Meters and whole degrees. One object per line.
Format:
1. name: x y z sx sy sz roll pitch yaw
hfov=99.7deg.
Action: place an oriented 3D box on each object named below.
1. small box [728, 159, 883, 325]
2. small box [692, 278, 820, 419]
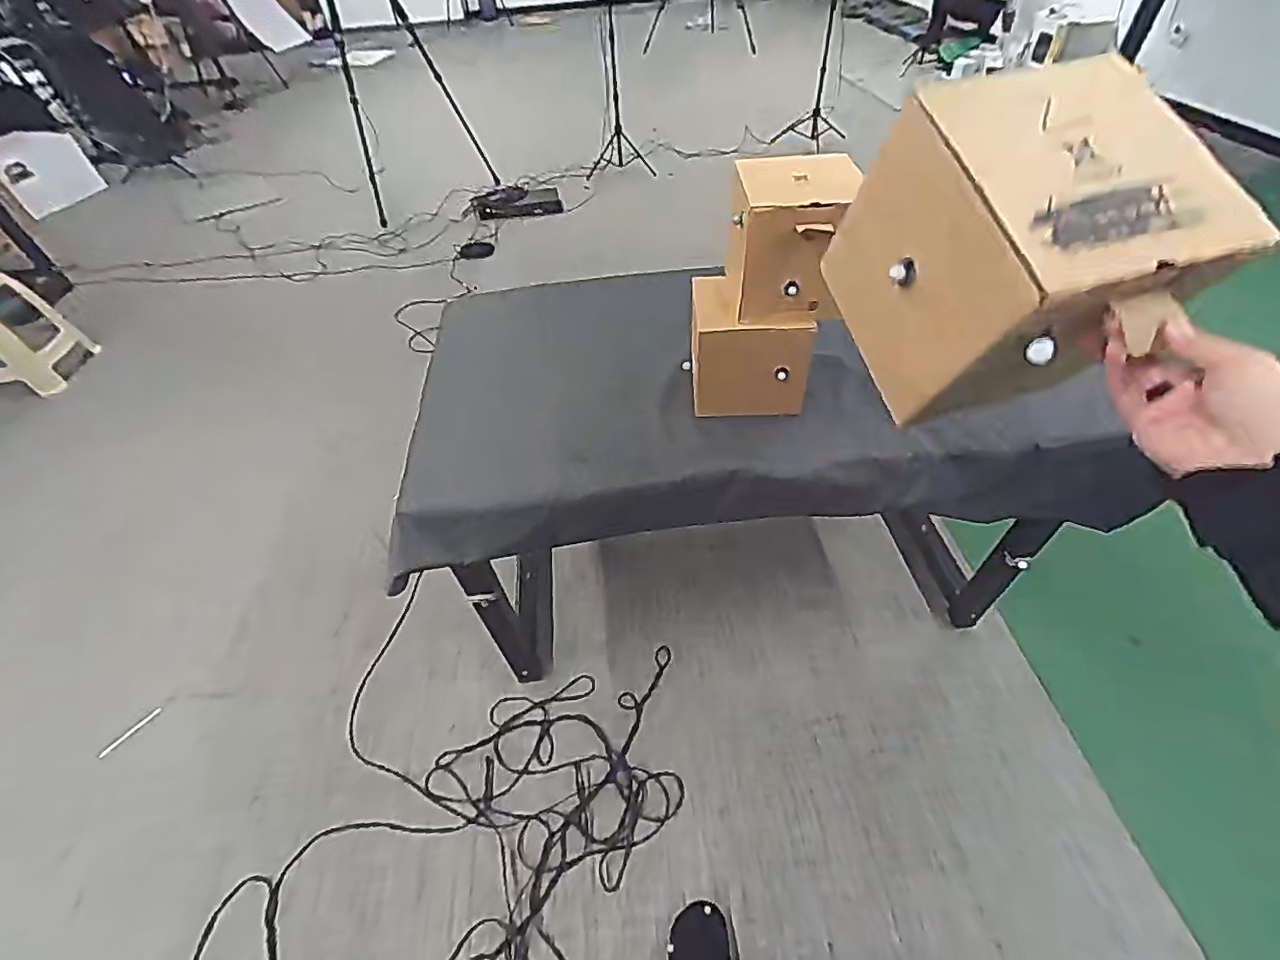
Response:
1. small box: 0.223 -0.345 0.786 0.168 0.176 0.179 -2 48 1
2. small box: 0.178 -0.214 0.889 0.179 0.176 0.168 -2 47 3
